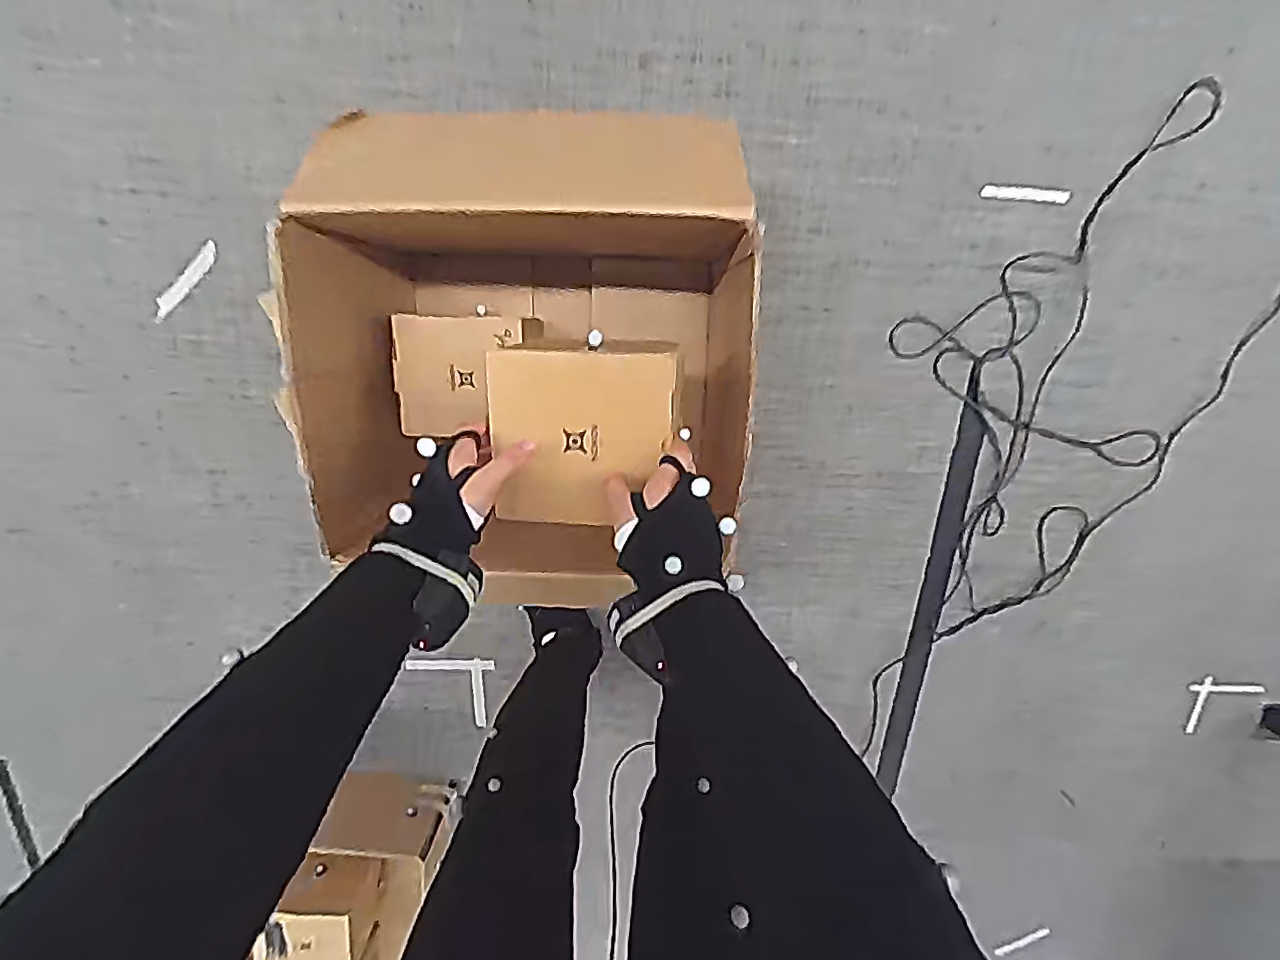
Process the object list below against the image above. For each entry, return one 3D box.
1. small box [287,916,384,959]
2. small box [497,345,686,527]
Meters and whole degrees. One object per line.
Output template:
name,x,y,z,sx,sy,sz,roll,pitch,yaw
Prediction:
small box,-0.651,1.066,1.130,0.168,0.176,0.179,6,104,-5
small box,-0.042,-0.059,0.597,0.179,0.176,0.168,3,107,5
